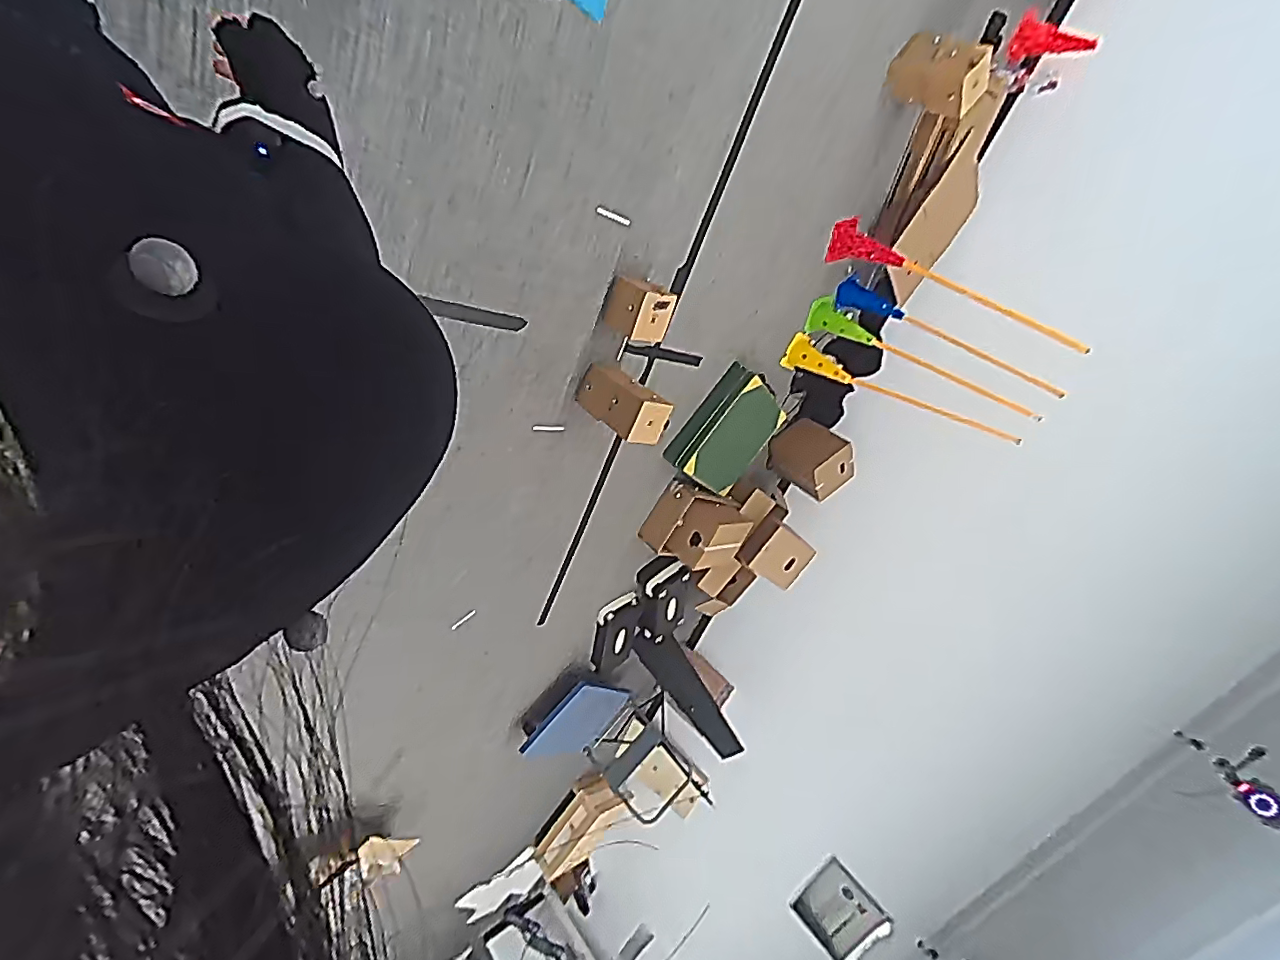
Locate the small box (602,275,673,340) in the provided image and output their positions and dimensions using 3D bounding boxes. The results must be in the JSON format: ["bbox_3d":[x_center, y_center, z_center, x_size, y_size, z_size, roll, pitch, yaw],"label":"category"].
[{"bbox_3d":[-0.016,-0.629,1.970,0.168,0.176,0.179,-11,132,-45],"label":"small box"}]

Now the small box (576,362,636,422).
[{"bbox_3d":[-0.128,-0.342,2.130,0.168,0.176,0.179,-1,126,-51],"label":"small box"}]

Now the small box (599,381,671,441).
[{"bbox_3d":[-0.022,-0.260,2.037,0.179,0.176,0.168,0,122,-49],"label":"small box"}]
